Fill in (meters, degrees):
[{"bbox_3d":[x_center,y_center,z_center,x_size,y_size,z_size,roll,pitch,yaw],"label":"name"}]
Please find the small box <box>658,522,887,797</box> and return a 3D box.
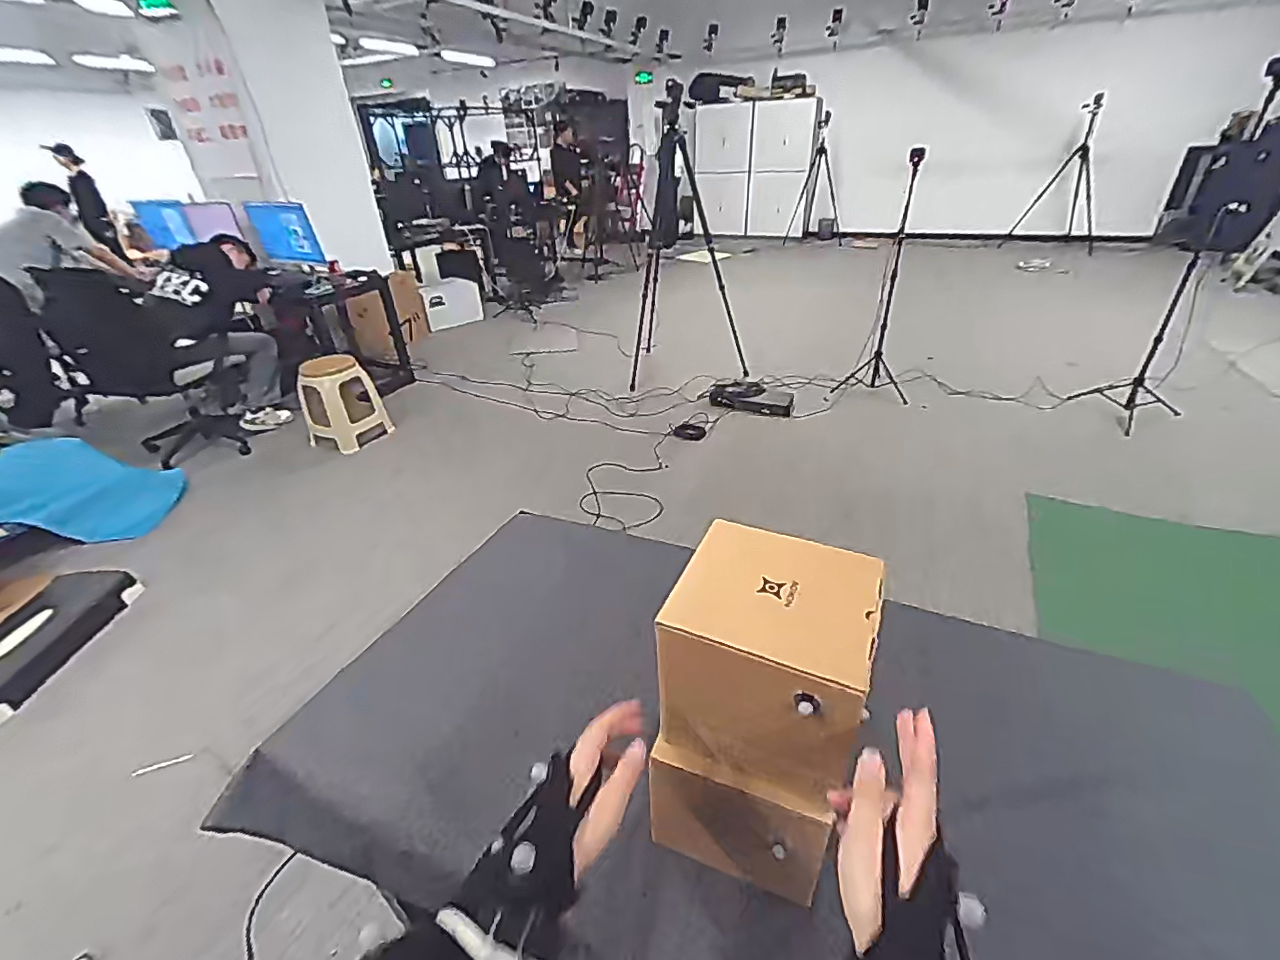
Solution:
[{"bbox_3d":[0.128,0.170,0.534,0.179,0.176,0.168,13,34,22],"label":"small box"}]
